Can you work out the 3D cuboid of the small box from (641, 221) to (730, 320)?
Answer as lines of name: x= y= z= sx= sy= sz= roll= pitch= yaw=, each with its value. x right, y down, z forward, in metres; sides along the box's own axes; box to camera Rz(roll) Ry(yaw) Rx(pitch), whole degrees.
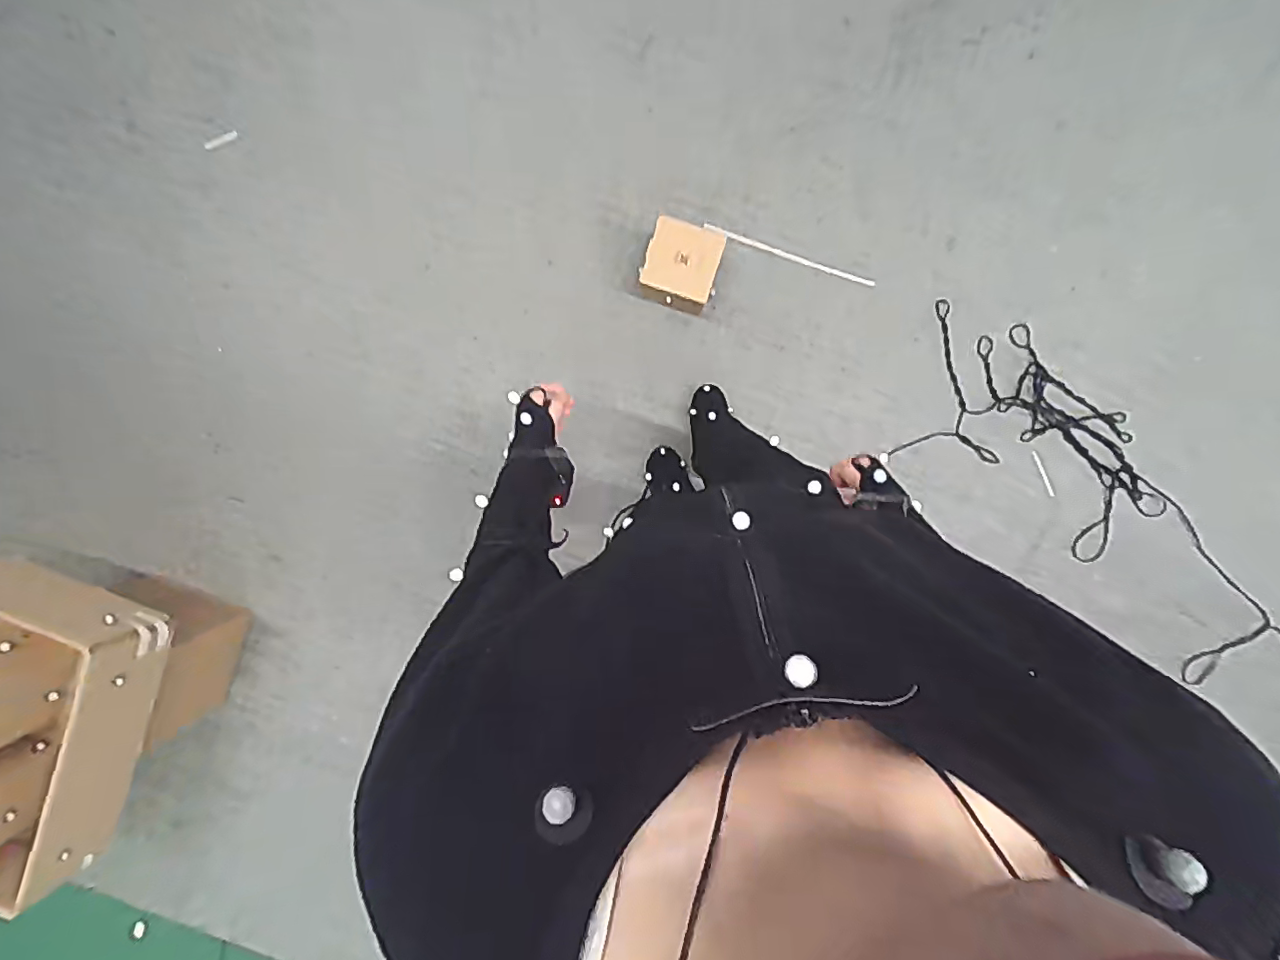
small box: x=0.113 y=-0.522 z=1.374 sx=0.179 sy=0.176 sz=0.168 roll=19 pitch=96 yaw=1
